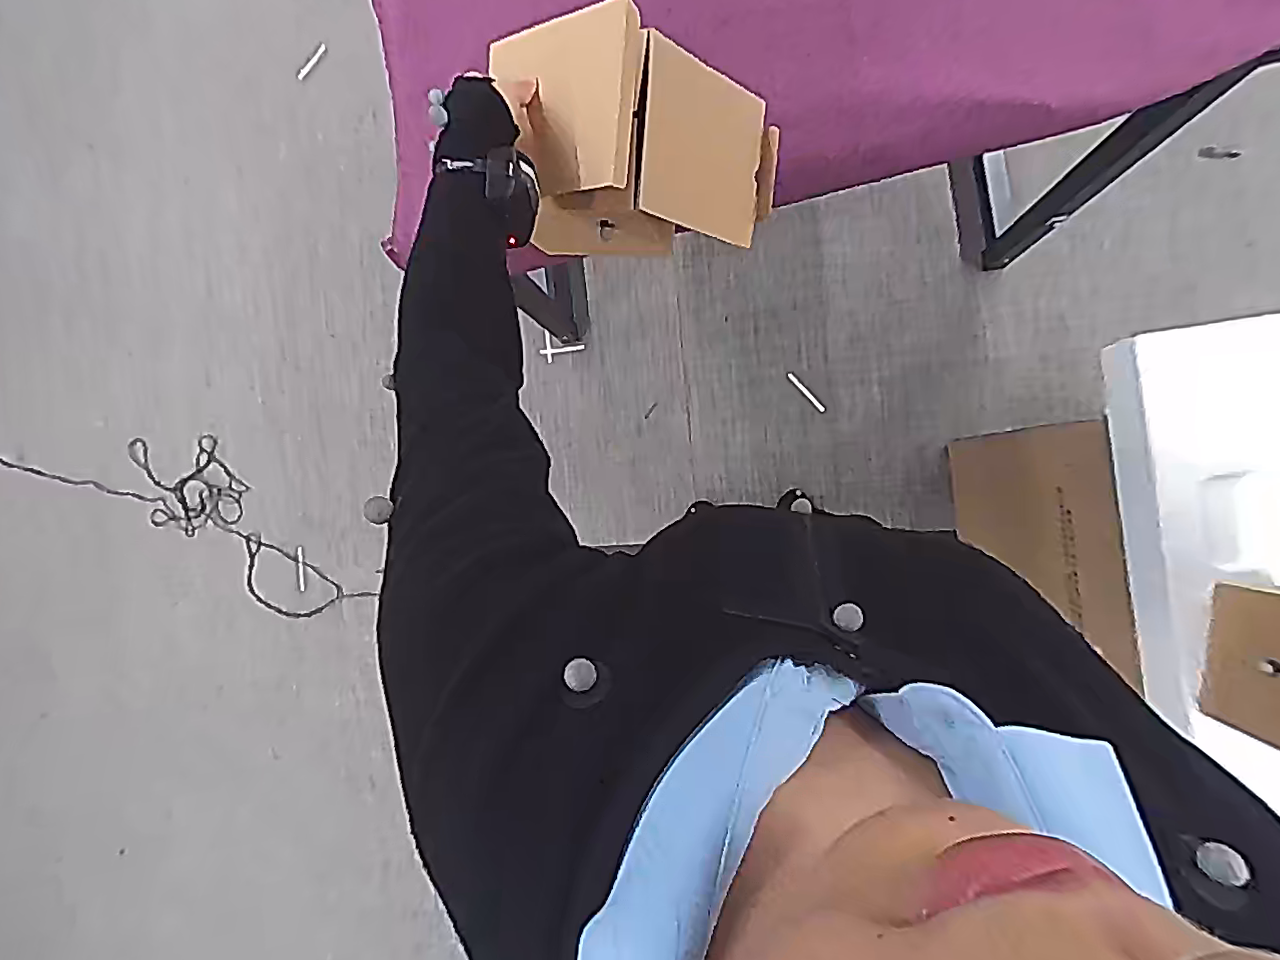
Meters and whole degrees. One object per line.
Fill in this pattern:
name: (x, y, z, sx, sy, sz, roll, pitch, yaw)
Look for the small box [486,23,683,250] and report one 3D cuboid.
small box: (-0.054, -0.376, 0.624, 0.179, 0.176, 0.168, 8, 98, 16)
